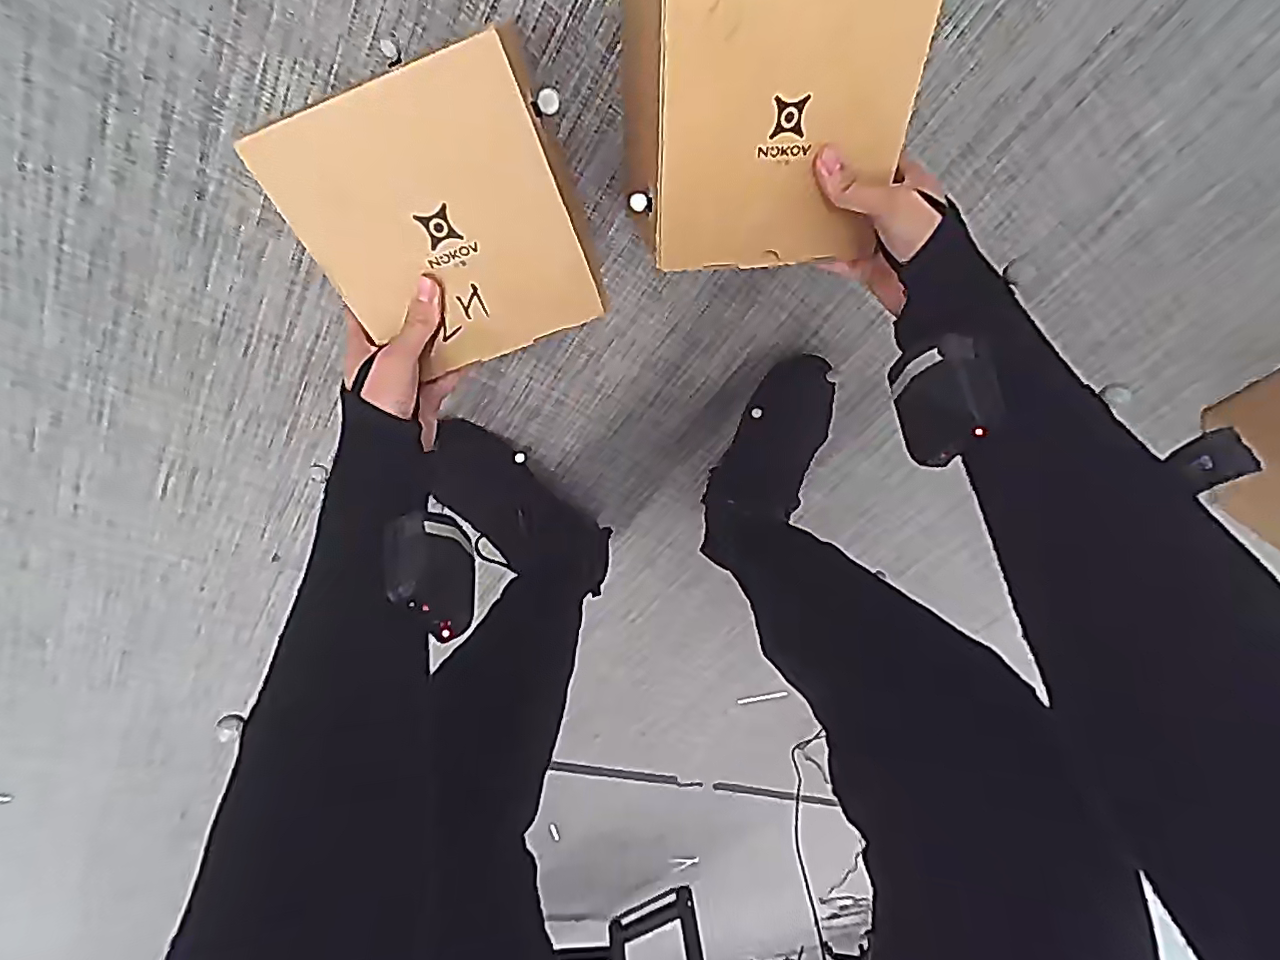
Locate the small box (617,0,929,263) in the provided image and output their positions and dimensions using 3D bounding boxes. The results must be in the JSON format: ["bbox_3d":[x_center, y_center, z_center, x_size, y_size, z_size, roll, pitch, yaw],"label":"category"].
[{"bbox_3d":[0.076,-0.283,0.403,0.168,0.176,0.179,-7,133,-6],"label":"small box"}]

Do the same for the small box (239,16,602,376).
[{"bbox_3d":[-0.140,-0.216,0.414,0.168,0.176,0.179,-18,132,7],"label":"small box"}]
